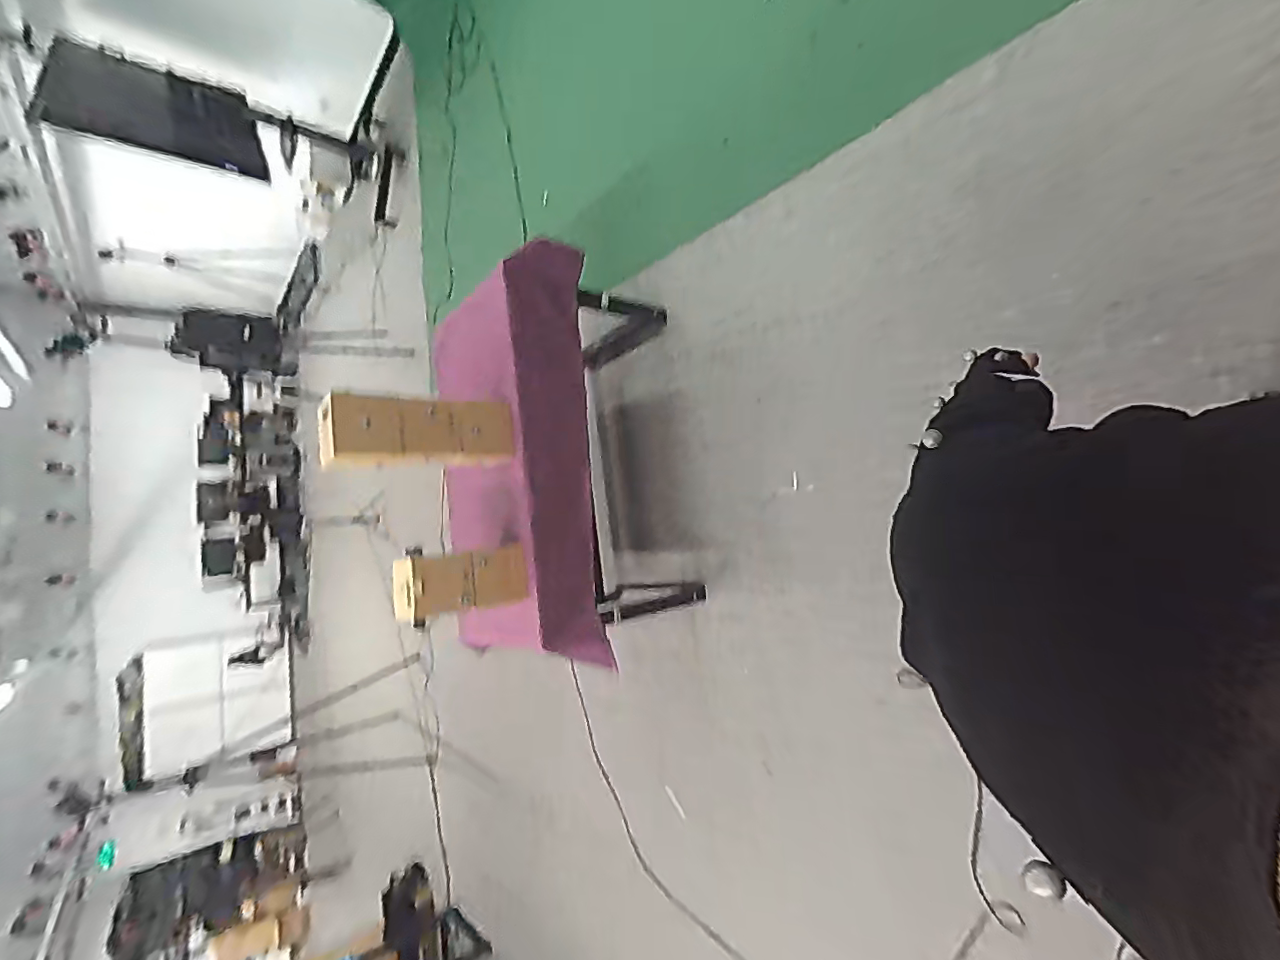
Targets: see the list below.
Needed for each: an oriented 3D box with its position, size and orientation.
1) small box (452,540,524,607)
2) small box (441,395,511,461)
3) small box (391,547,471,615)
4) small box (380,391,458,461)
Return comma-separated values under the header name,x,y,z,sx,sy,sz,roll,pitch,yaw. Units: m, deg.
name,x,y,z,sx,sy,sz,roll,pitch,yaw
small box,-0.462,0.280,1.634,0.168,0.176,0.179,-14,80,48
small box,-0.512,-0.156,1.673,0.168,0.176,0.179,-11,83,48
small box,-0.587,0.282,1.527,0.179,0.176,0.168,-14,80,50
small box,-0.638,-0.152,1.570,0.179,0.176,0.168,-14,80,49
